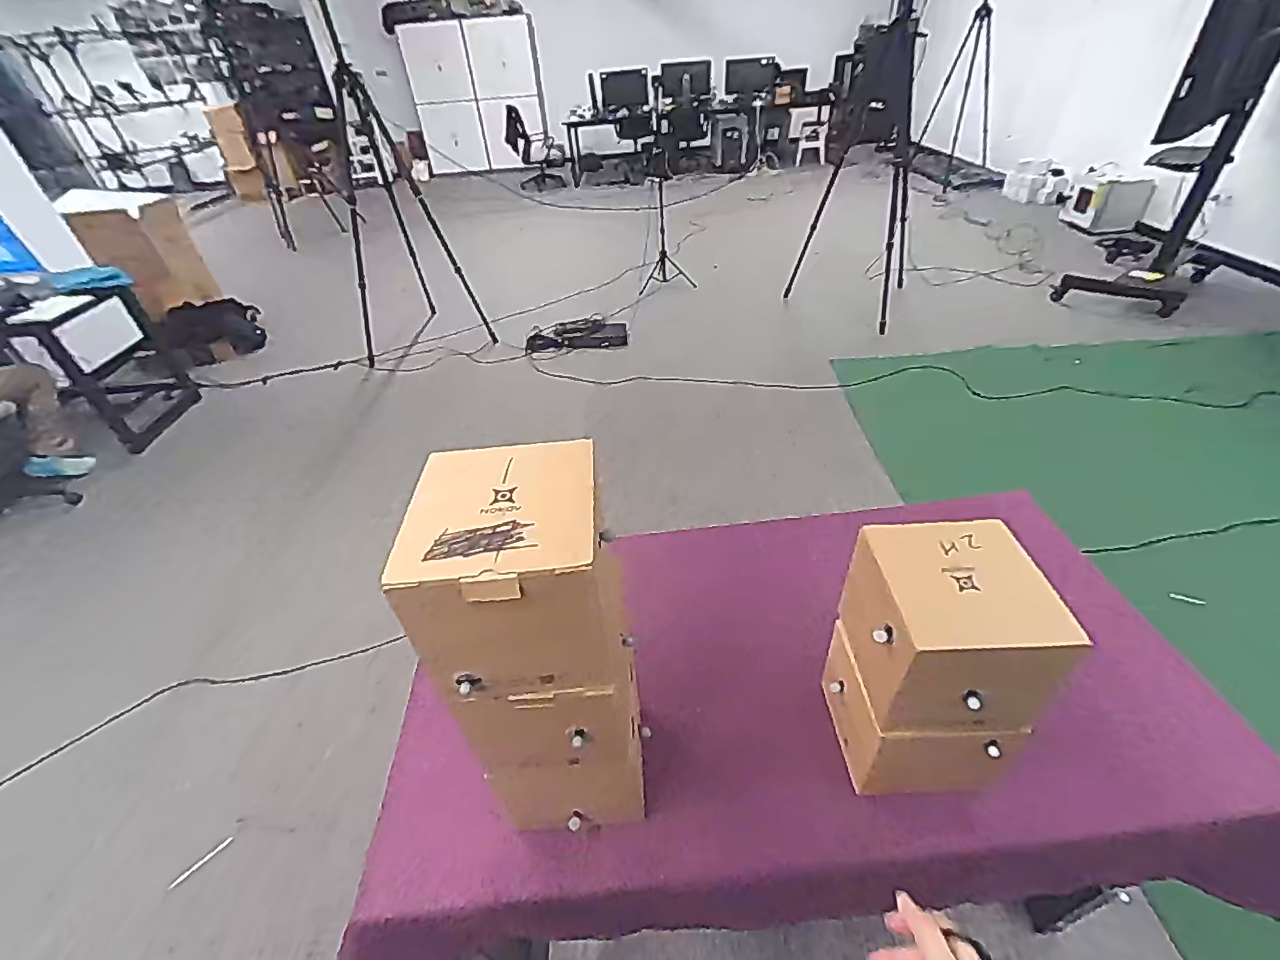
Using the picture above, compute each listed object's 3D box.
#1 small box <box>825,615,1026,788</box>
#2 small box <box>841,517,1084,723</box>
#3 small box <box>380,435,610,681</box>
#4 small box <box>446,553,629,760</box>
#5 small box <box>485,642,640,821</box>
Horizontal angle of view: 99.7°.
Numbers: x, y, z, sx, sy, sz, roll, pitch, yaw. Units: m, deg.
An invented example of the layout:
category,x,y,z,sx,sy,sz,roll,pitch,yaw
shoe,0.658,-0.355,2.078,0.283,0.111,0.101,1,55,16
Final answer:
category,x,y,z,sx,sy,sz,roll,pitch,yaw
small box,0.359,0.294,0.728,0.179,0.176,0.168,-3,39,1
small box,0.348,0.164,0.628,0.168,0.176,0.179,-2,39,3
small box,-0.119,0.079,0.529,0.168,0.176,0.179,-5,38,-1
small box,-0.101,0.208,0.629,0.168,0.176,0.179,-3,39,2
small box,-0.090,0.337,0.729,0.179,0.176,0.168,-4,39,1
